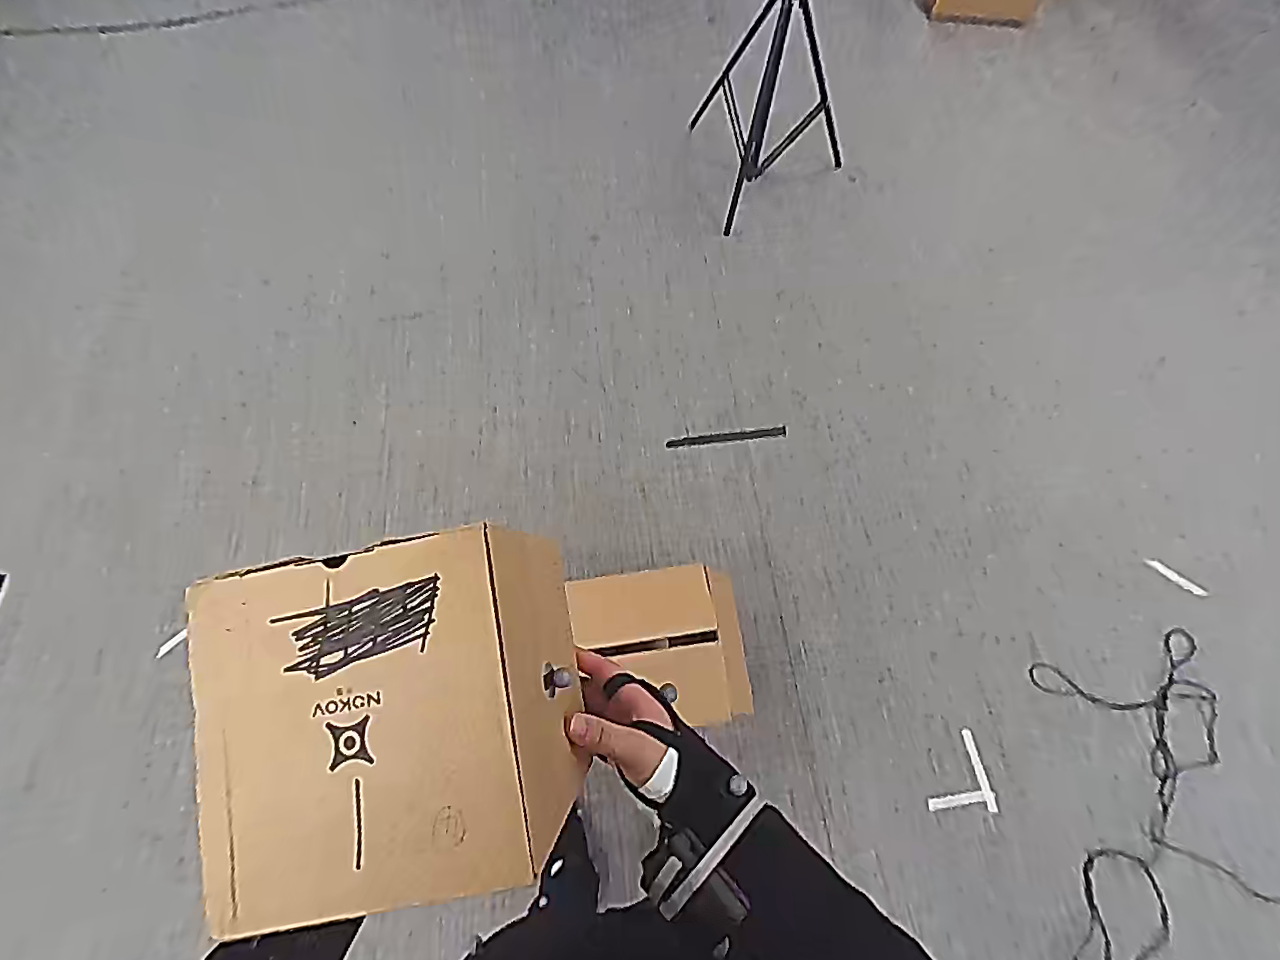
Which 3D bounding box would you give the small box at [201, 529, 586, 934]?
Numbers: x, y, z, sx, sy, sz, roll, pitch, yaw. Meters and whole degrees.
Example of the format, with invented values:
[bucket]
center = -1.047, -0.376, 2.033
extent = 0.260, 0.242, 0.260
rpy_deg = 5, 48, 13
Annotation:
[small box]
center = -0.139, 0.138, 0.357
extent = 0.168, 0.176, 0.179
rpy_deg = -11, 81, 2
